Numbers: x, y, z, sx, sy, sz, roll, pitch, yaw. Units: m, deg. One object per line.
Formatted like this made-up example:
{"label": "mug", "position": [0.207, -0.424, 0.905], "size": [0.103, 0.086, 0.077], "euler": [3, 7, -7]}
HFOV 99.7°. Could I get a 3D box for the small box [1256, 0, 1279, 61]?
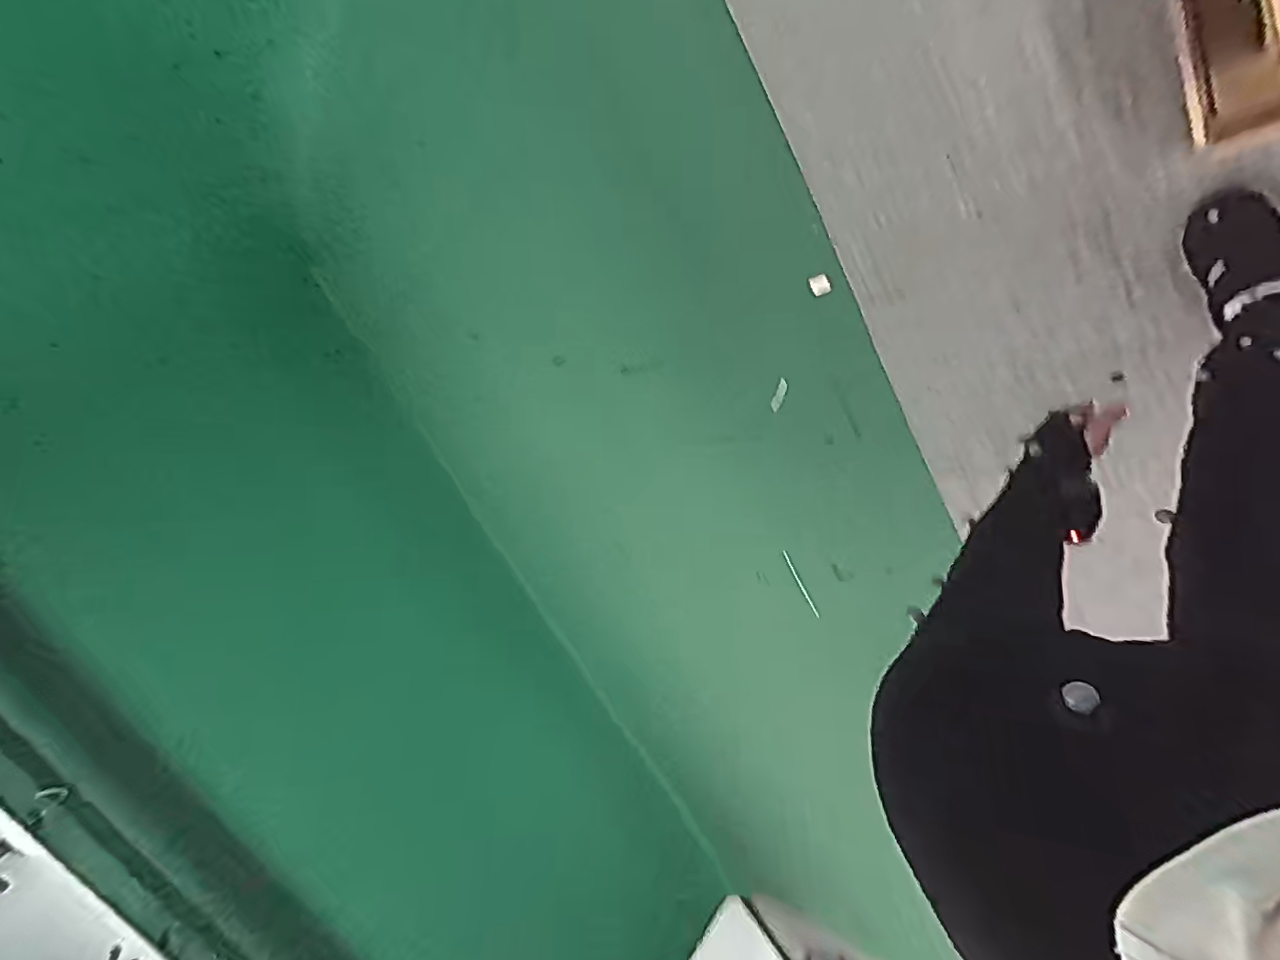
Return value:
{"label": "small box", "position": [0.769, -0.582, 0.566], "size": [0.168, 0.176, 0.179], "euler": [-11, 111, 52]}
